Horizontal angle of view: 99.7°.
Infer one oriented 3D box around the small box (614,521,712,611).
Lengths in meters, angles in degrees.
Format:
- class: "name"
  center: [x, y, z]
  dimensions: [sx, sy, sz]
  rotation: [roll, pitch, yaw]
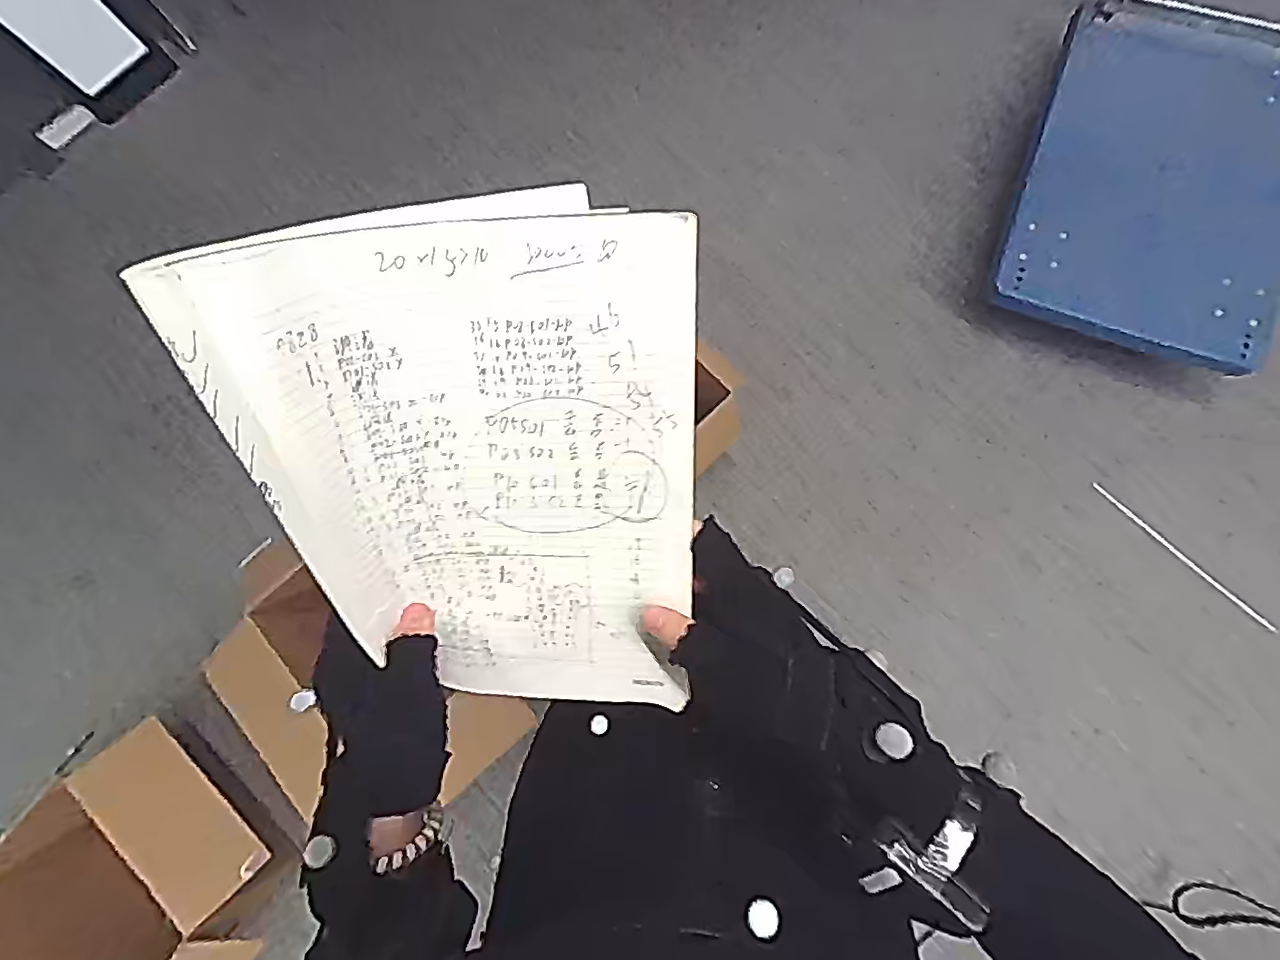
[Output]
- class: "small box"
  center: [0.052, 0.196, 1.280]
  dimensions: [0.179, 0.176, 0.168]
  rotation: [13, 93, 24]
